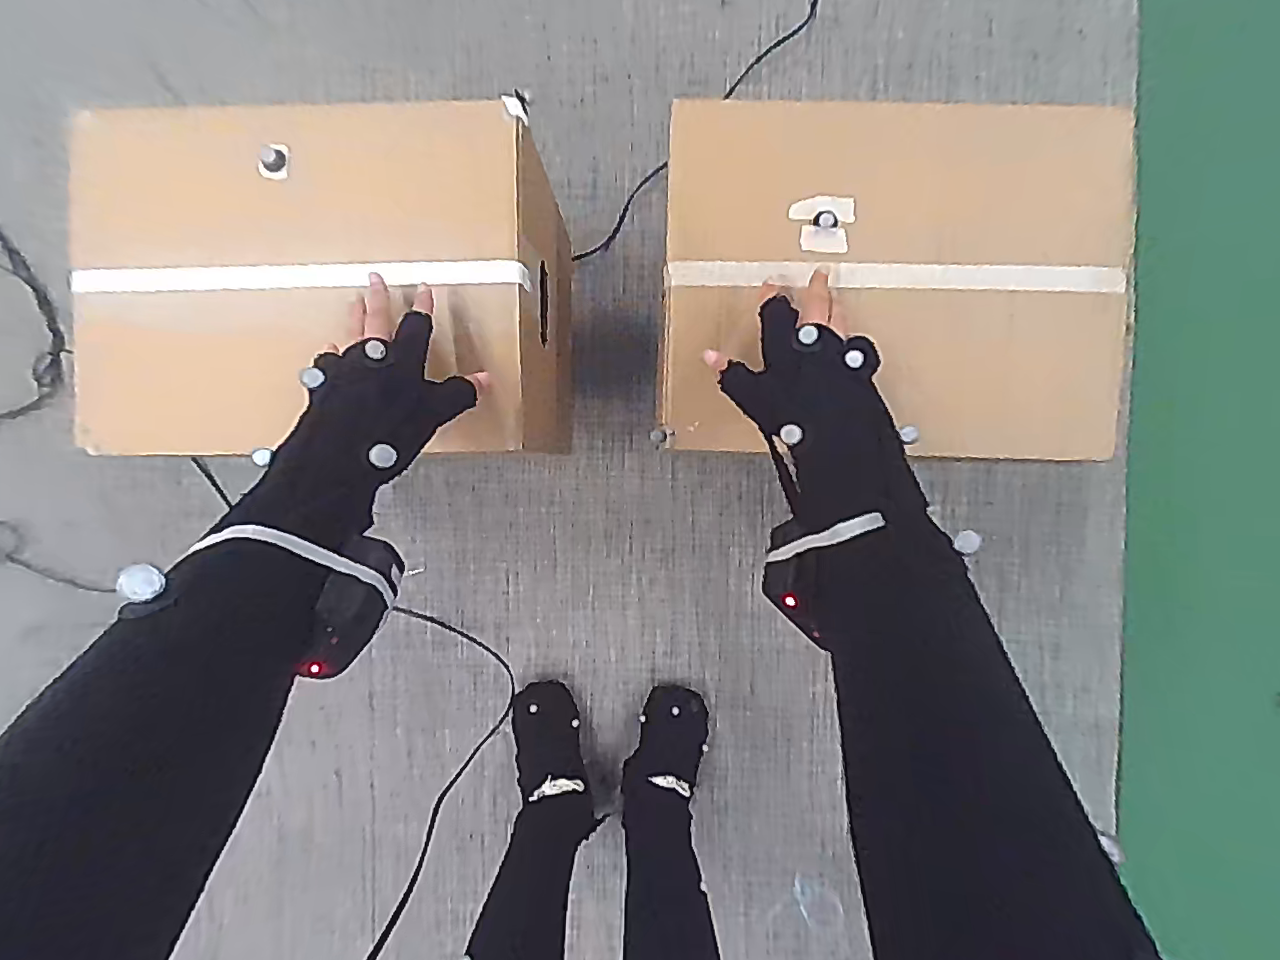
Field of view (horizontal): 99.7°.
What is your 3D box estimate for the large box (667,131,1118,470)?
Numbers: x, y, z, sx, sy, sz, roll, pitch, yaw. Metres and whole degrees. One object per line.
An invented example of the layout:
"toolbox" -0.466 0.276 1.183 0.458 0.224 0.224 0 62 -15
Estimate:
"large box" 0.241 -0.176 0.655 0.408 0.320 0.320 2 92 2
